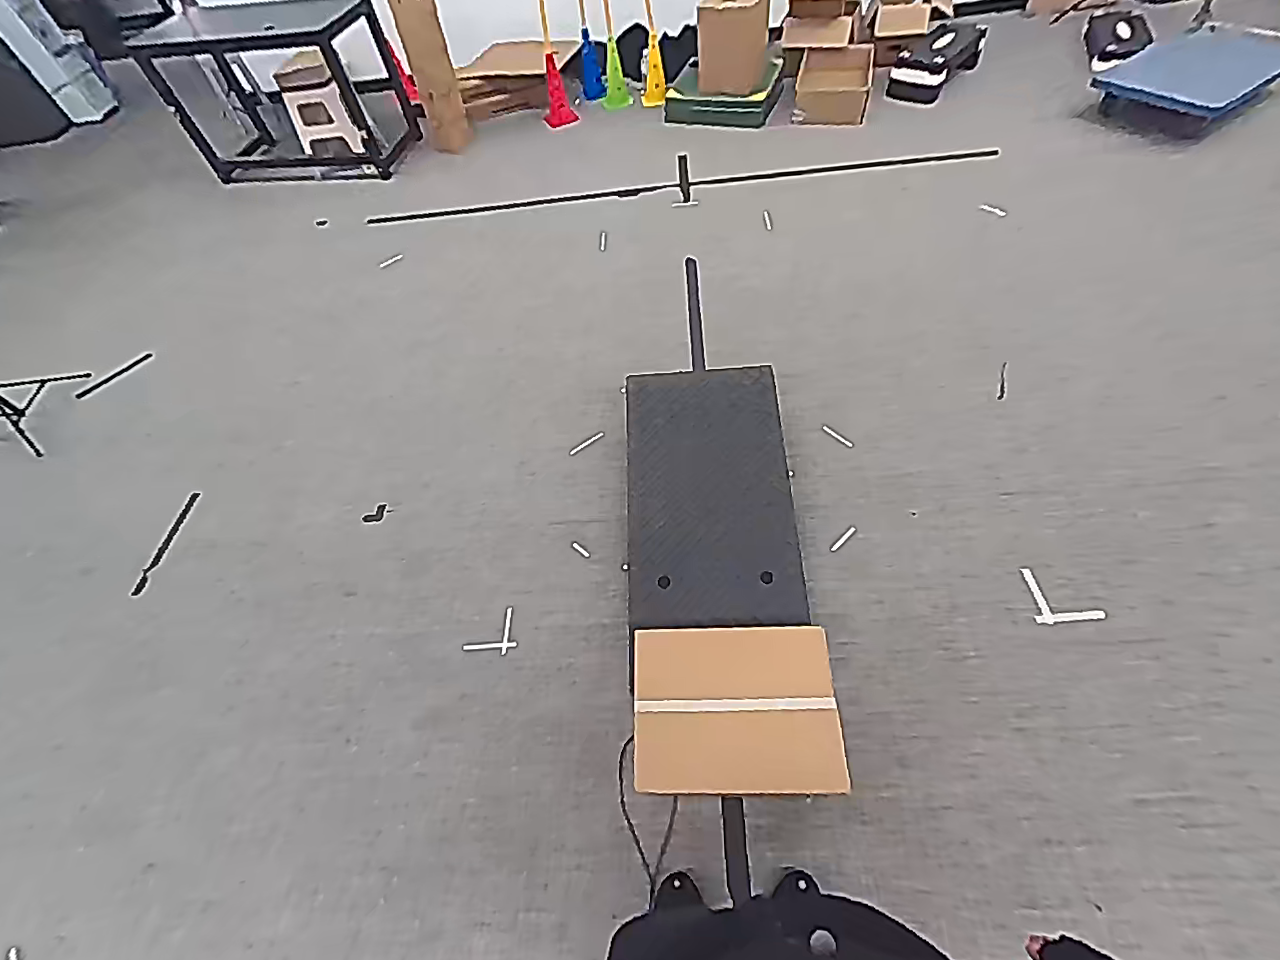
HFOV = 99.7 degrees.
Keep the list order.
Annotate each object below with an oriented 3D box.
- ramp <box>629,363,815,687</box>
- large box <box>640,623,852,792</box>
[{"bbox_3d":[0.219,0.083,1.616,0.509,0.206,0.991,-5,55,3],"label":"ramp"},{"bbox_3d":[0.216,0.527,1.226,0.408,0.320,0.320,-3,58,5],"label":"large box"}]
